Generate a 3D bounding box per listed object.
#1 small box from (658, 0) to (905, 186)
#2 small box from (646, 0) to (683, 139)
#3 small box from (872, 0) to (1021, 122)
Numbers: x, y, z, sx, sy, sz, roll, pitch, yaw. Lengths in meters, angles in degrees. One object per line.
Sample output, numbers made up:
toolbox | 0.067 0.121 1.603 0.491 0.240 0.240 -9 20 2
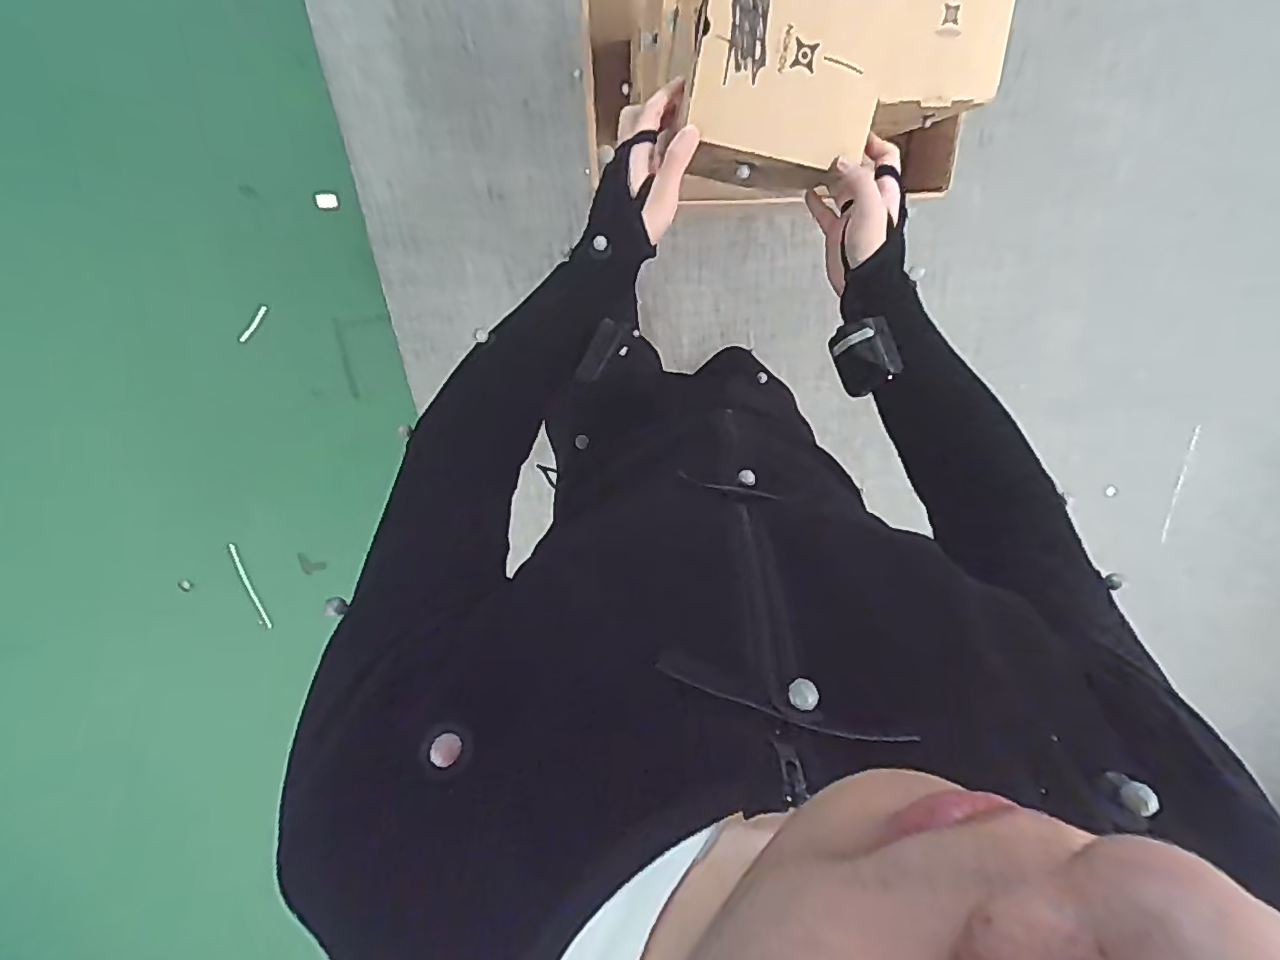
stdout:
small box | 0.125 -0.406 0.540 0.179 0.176 0.168 6 112 -12
small box | 0.100 -0.559 0.722 0.168 0.176 0.179 -1 114 -6
small box | 0.376 -0.601 0.733 0.168 0.176 0.179 -4 114 -6
